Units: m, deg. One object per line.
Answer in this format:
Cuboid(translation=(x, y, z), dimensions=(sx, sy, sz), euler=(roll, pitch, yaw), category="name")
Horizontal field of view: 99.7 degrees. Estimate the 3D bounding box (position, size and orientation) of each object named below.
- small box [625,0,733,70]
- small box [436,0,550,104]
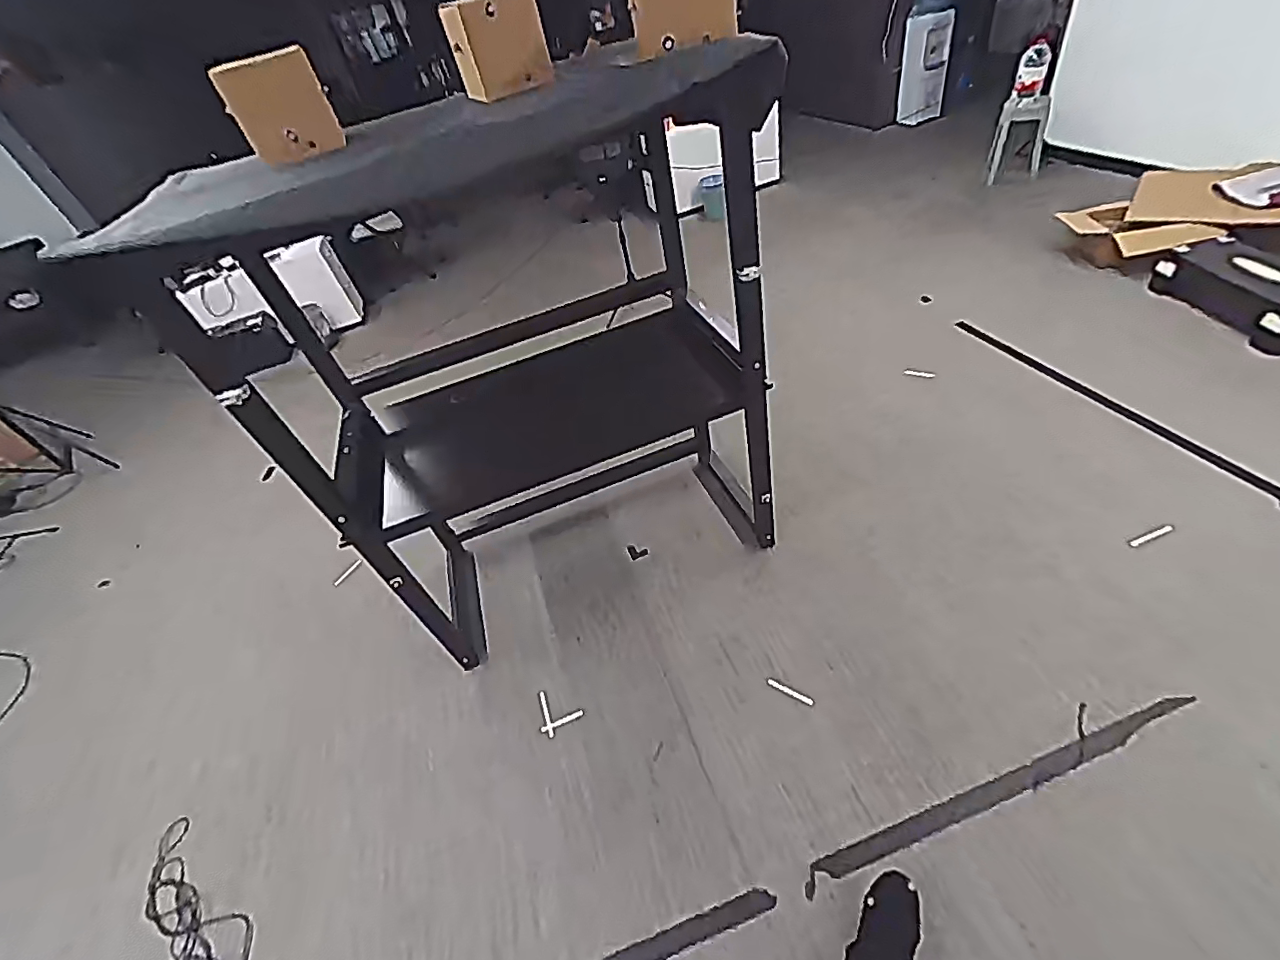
Cuboid(translation=(0.068, -0.895, 1.015), dimensions=(0.168, 0.176, 0.179), euler=(-16, 41, 1), category="small box")
Cuboid(translation=(-0.320, -0.944, 1.183), dimensions=(0.168, 0.176, 0.179), euler=(-28, 44, -13), category="small box")
